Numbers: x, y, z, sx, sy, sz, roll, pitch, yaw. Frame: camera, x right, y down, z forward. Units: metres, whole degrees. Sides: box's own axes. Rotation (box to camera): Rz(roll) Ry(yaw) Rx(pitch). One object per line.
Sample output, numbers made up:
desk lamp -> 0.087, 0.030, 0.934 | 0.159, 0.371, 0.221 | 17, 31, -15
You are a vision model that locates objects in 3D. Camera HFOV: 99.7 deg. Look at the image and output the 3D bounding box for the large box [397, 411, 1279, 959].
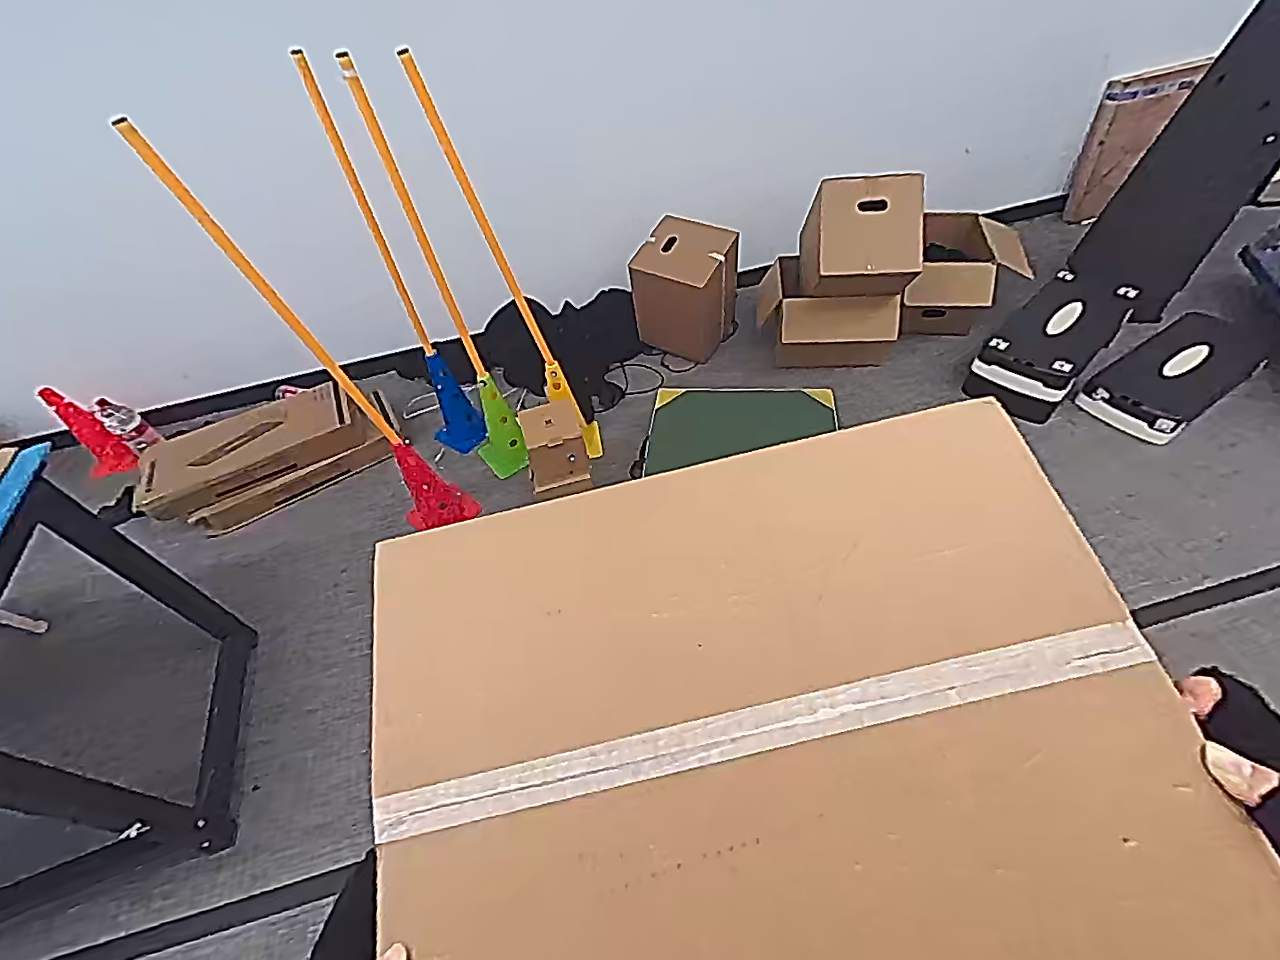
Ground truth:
large box -> 0.079, 0.200, 0.422 | 0.408, 0.320, 0.320 | -14, 65, 1
